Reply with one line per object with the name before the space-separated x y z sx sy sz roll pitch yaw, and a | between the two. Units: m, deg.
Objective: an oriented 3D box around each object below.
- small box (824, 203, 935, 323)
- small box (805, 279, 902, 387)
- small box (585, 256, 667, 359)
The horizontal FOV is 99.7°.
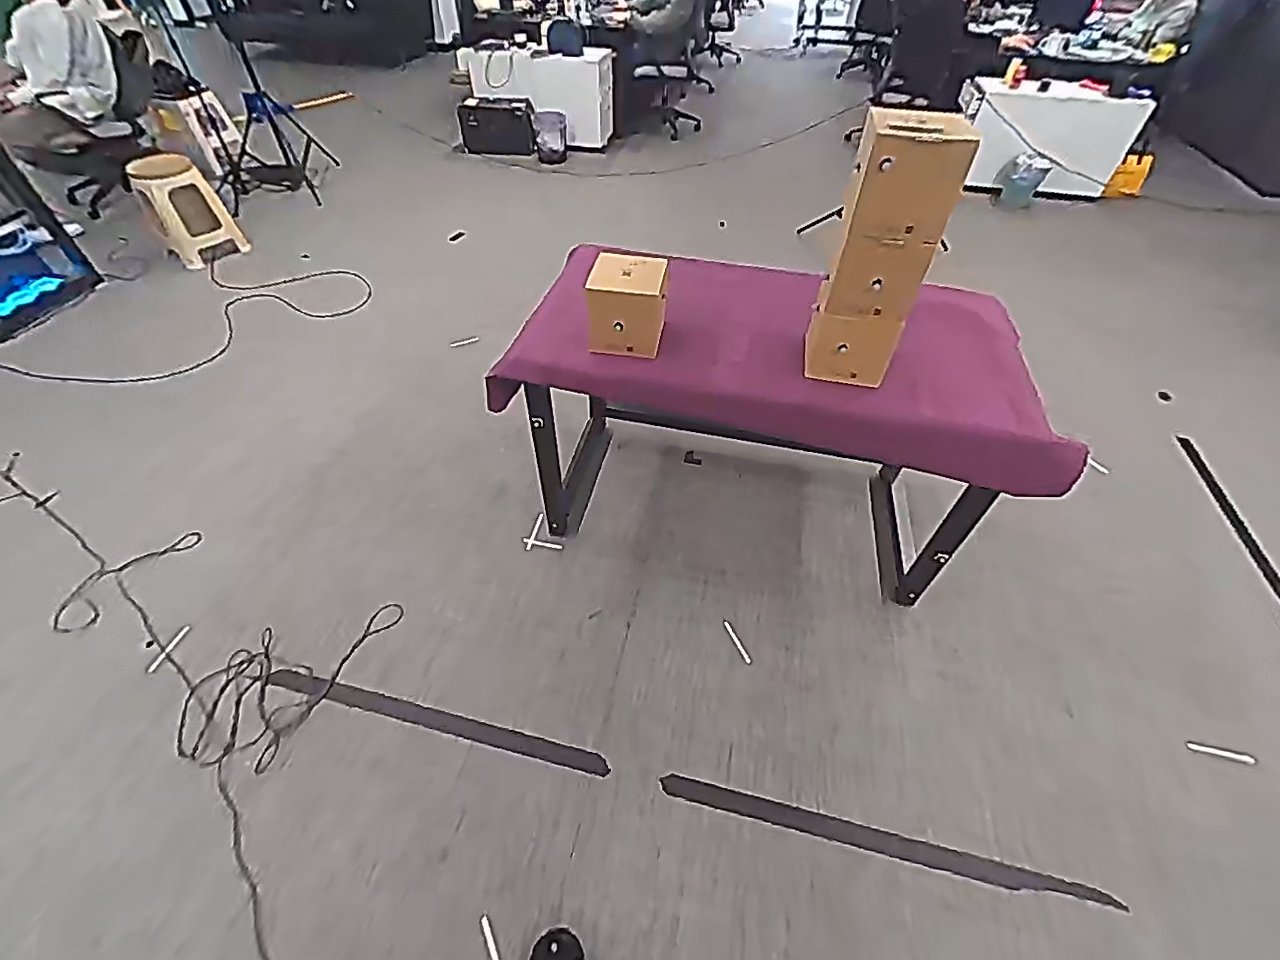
small box | 0.487 -0.448 1.121 0.168 0.176 0.179 11 49 9
small box | 0.482 -0.335 1.240 0.168 0.176 0.179 10 48 8
small box | -0.029 -0.409 1.289 0.168 0.176 0.179 8 47 5
